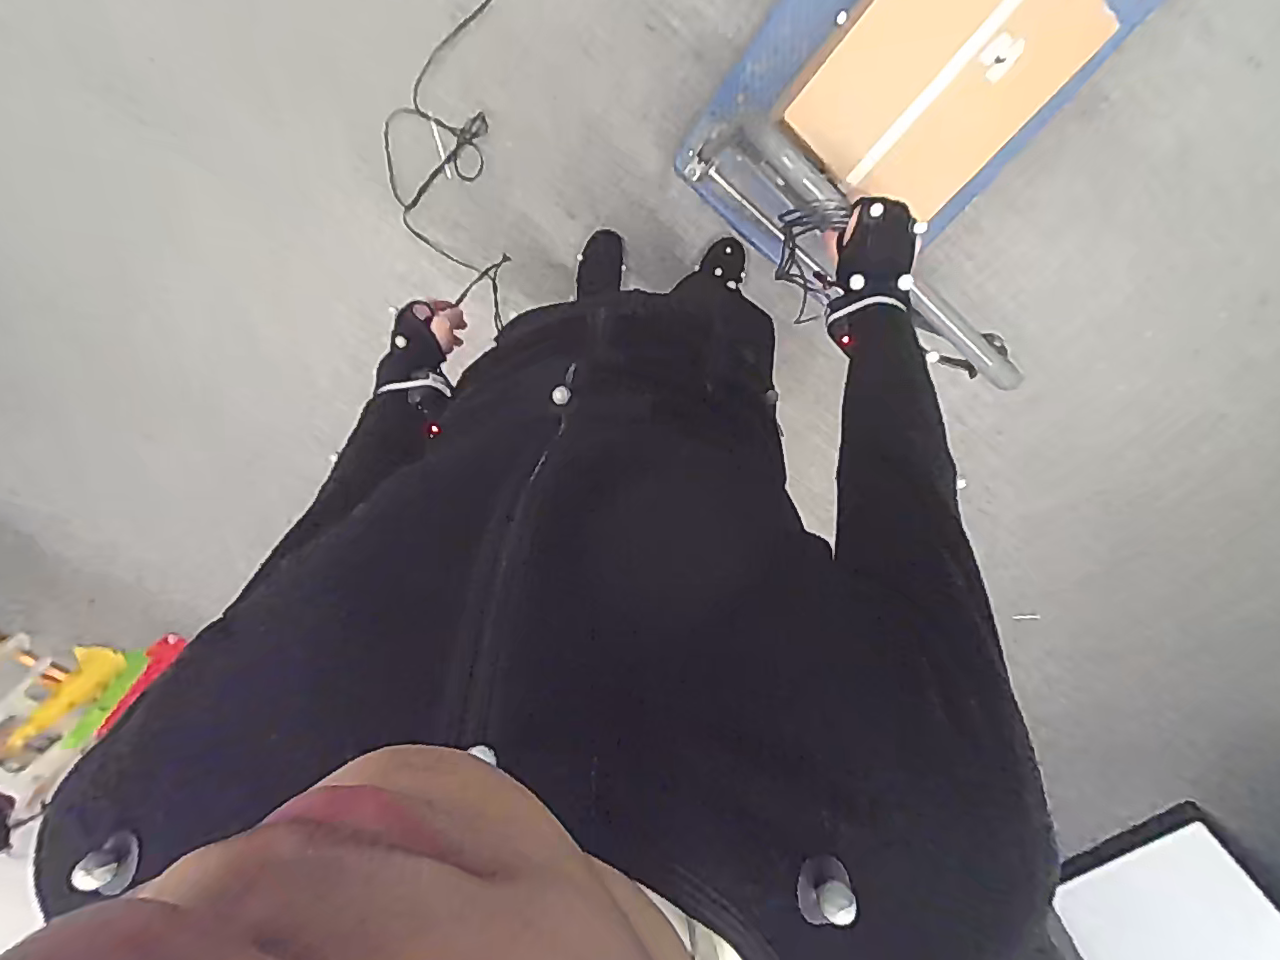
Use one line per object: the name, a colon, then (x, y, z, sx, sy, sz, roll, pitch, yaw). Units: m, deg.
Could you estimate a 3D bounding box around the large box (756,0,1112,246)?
large box: (0.476, -0.699, 0.977, 0.320, 0.320, 0.408, 37, 113, -17)
